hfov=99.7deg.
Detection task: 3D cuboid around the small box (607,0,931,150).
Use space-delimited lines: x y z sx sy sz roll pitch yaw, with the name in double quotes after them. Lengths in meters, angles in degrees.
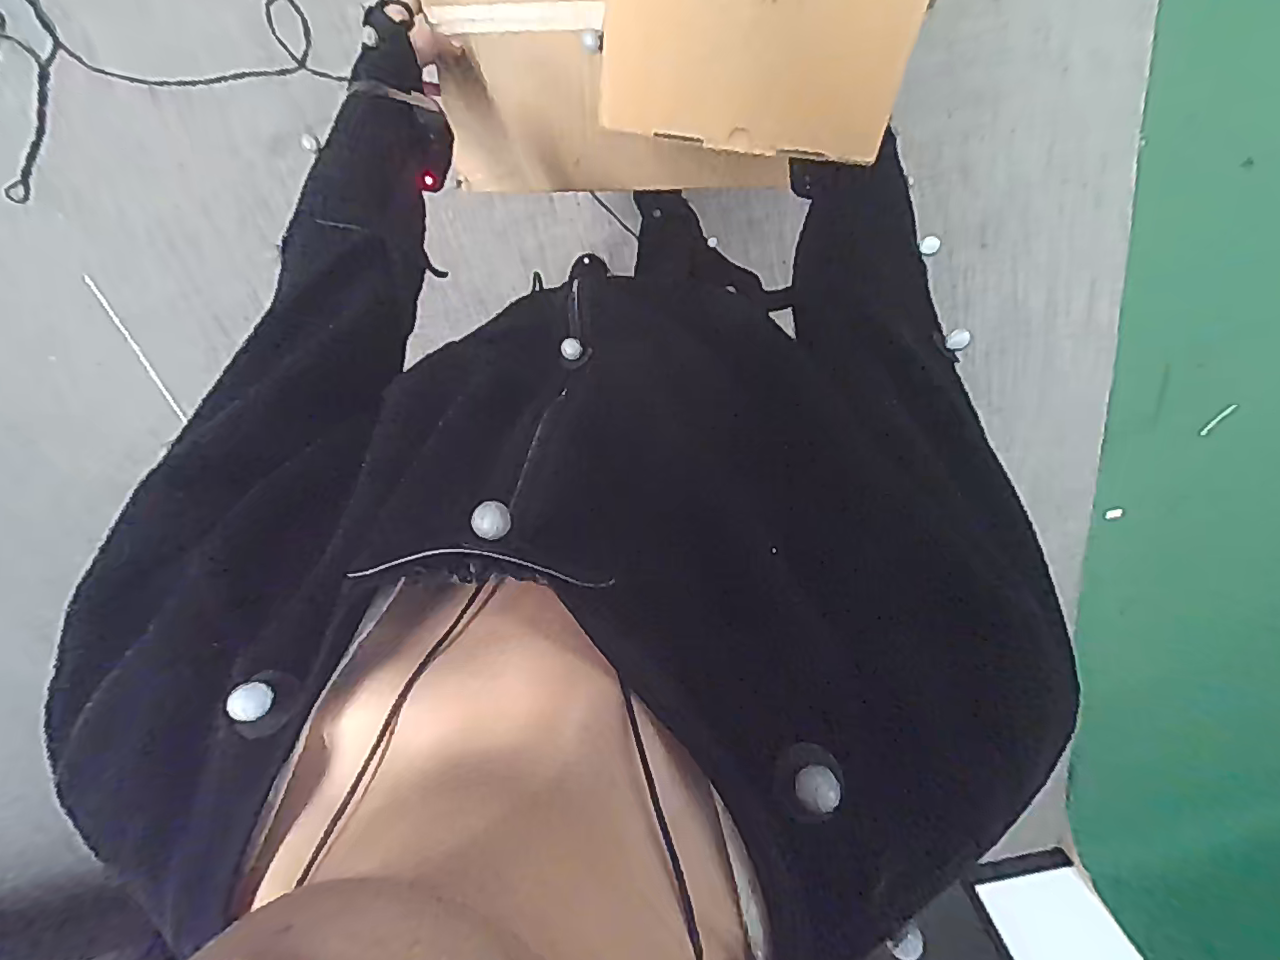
0.069 -0.319 0.320 0.168 0.176 0.179 4 130 -4 "small box"
